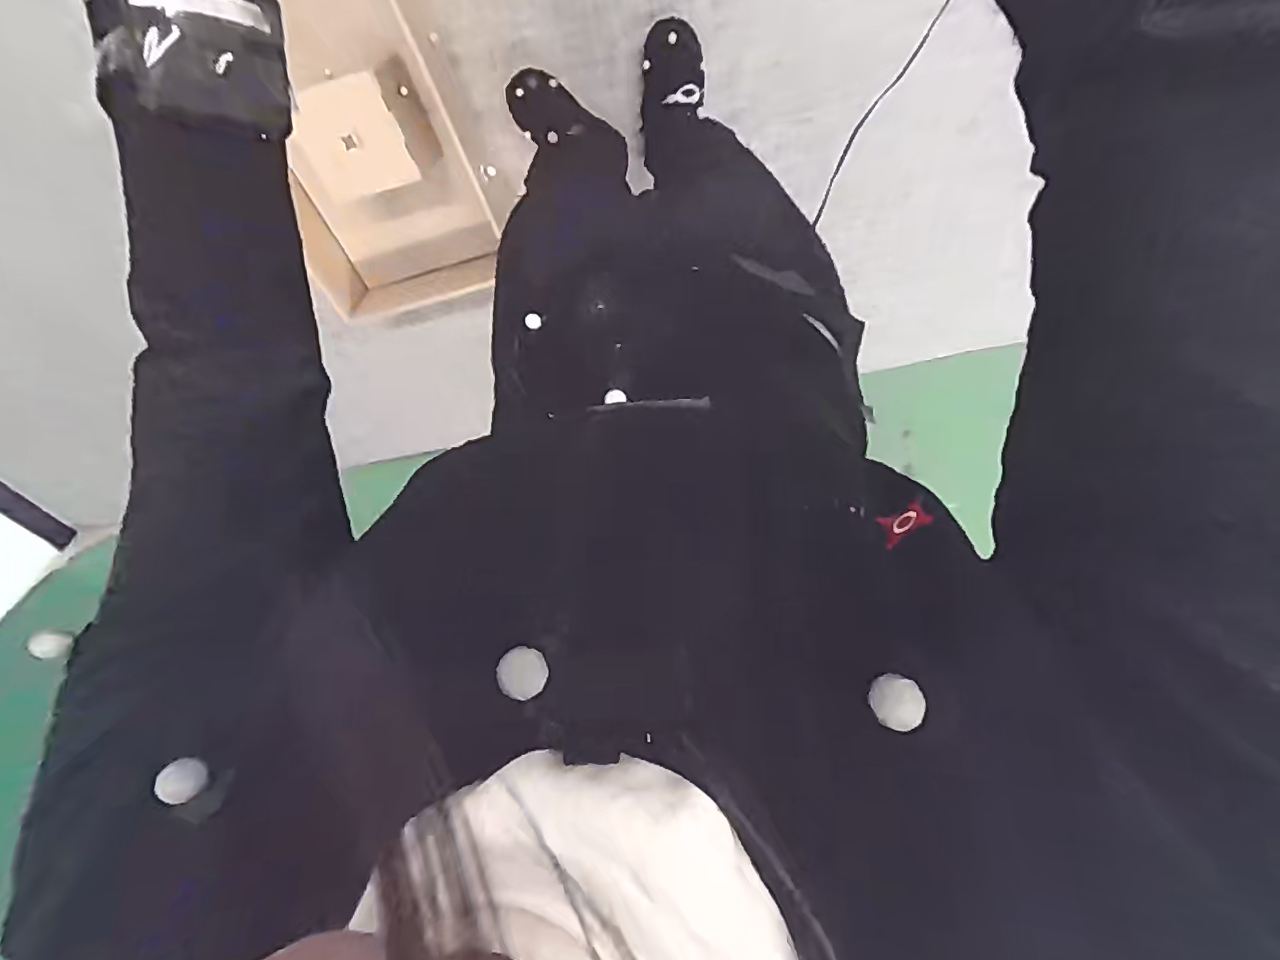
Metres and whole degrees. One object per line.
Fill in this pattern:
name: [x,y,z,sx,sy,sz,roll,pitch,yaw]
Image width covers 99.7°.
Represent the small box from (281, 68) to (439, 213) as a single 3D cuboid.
small box: [-0.484,-0.613,0.973,0.179,0.176,0.168,-11,133,9]
